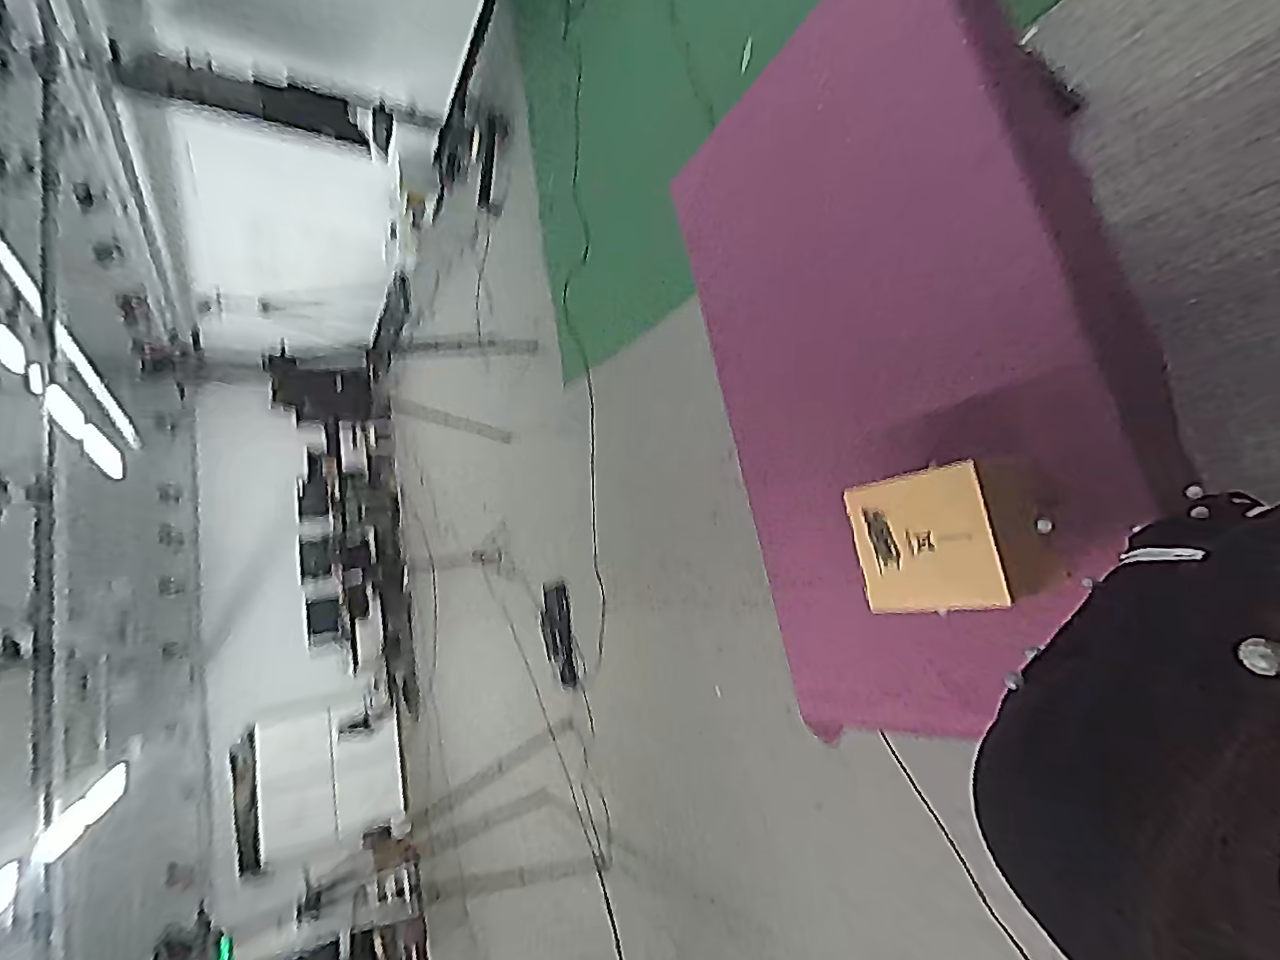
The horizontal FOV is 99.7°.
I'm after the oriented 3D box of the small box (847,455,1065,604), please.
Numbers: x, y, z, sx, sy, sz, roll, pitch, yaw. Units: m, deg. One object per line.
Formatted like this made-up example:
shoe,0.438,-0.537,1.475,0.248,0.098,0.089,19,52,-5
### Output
small box,0.415,0.067,0.719,0.179,0.176,0.168,-23,75,53
